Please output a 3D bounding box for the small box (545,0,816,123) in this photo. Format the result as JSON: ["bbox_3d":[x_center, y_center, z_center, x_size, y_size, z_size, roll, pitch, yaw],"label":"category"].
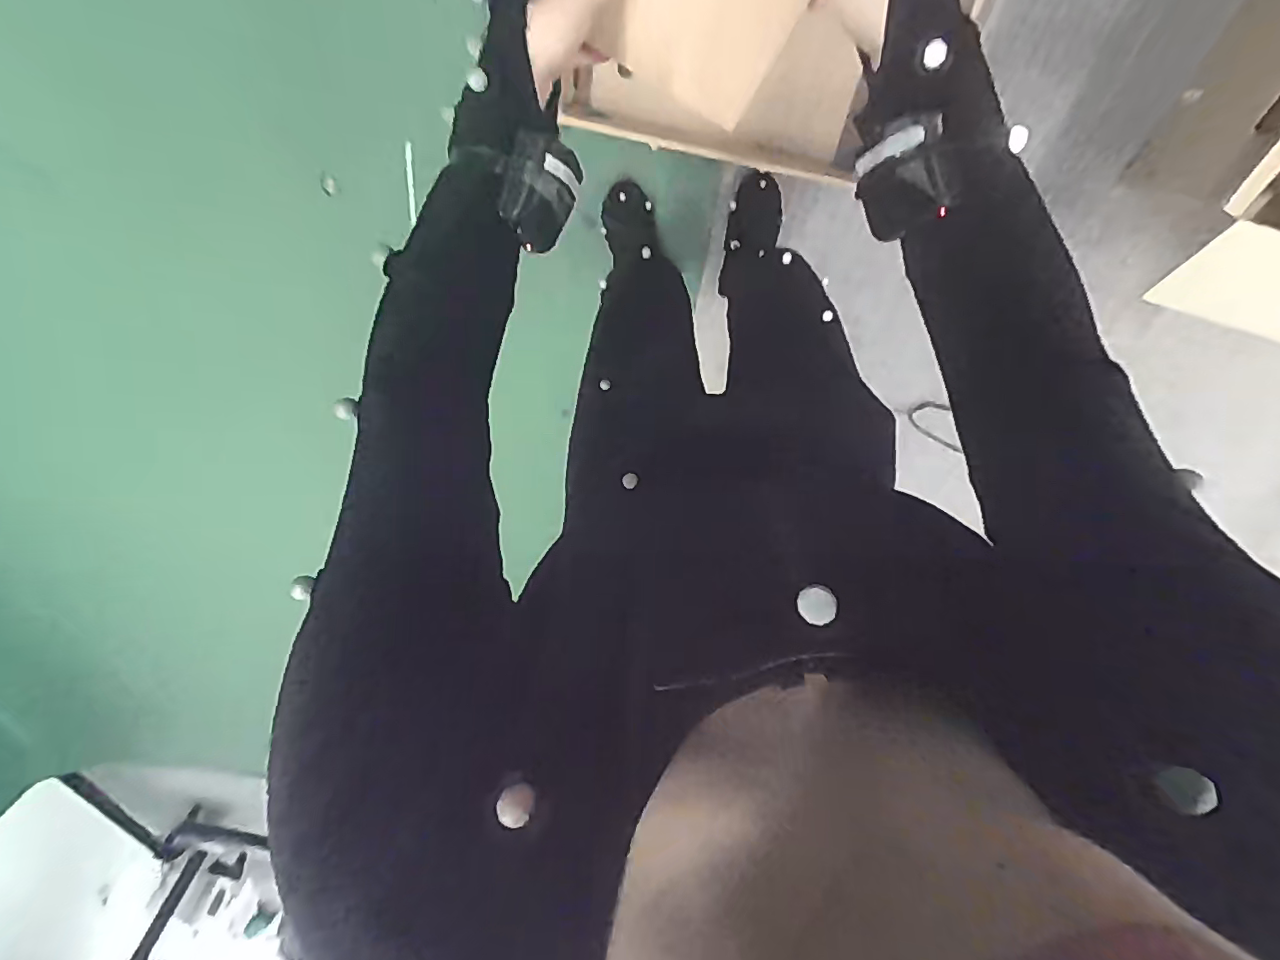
[{"bbox_3d":[0.042,-0.426,0.407,0.179,0.176,0.168,15,141,-24],"label":"small box"}]

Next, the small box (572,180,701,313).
[{"bbox_3d":[-0.001,-0.476,1.109,0.176,0.168,0.179,22,102,-44],"label":"small box"}]
